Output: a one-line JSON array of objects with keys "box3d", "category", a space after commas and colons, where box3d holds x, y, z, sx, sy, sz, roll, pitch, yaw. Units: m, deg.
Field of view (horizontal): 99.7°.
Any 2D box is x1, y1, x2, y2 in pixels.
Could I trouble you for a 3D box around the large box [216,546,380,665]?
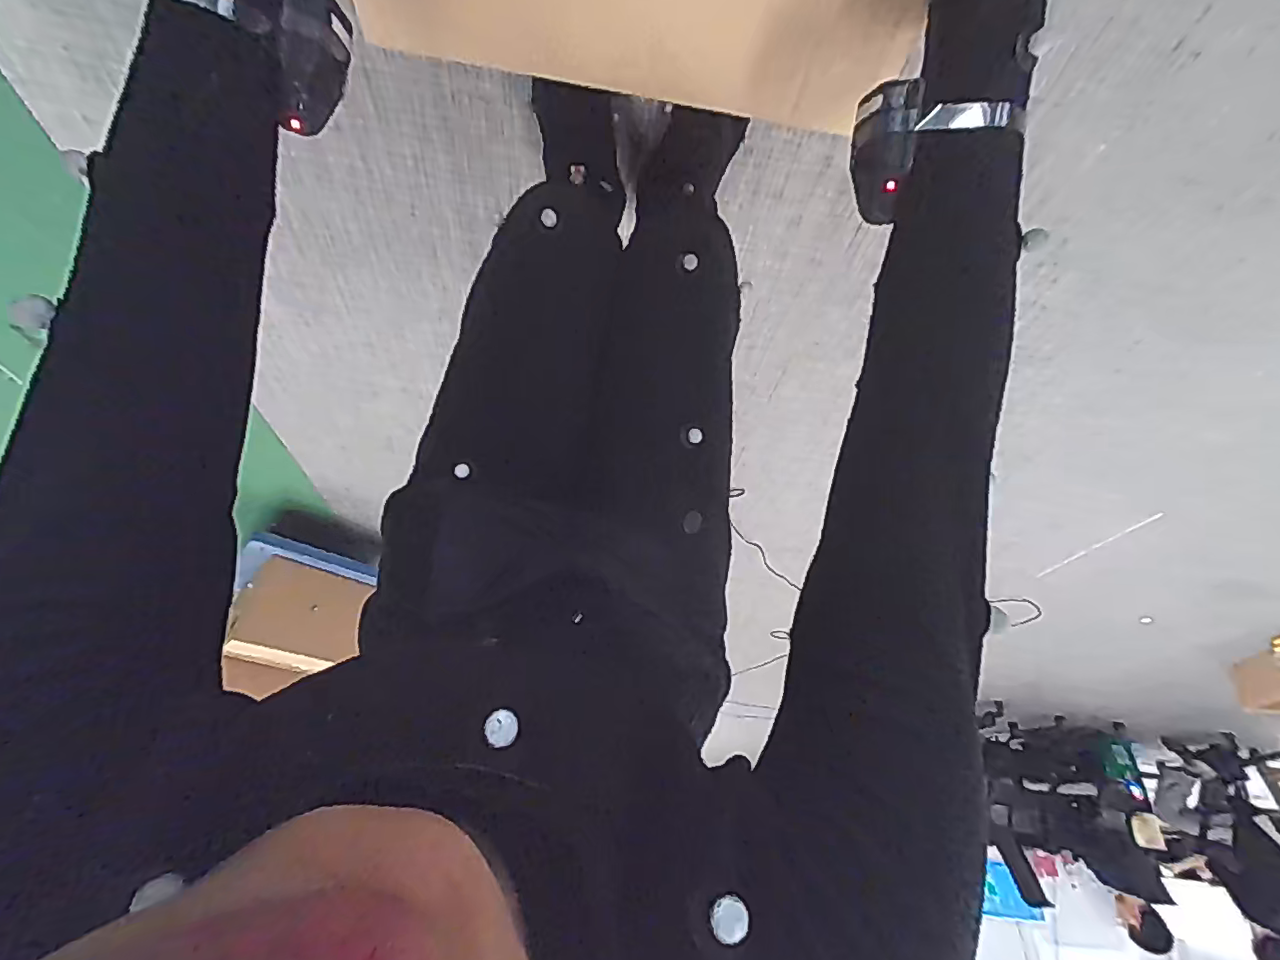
[{"box3d": [-1.280, 0.484, 2.042, 0.408, 0.320, 0.320, 30, 143, -34], "category": "large box"}]
